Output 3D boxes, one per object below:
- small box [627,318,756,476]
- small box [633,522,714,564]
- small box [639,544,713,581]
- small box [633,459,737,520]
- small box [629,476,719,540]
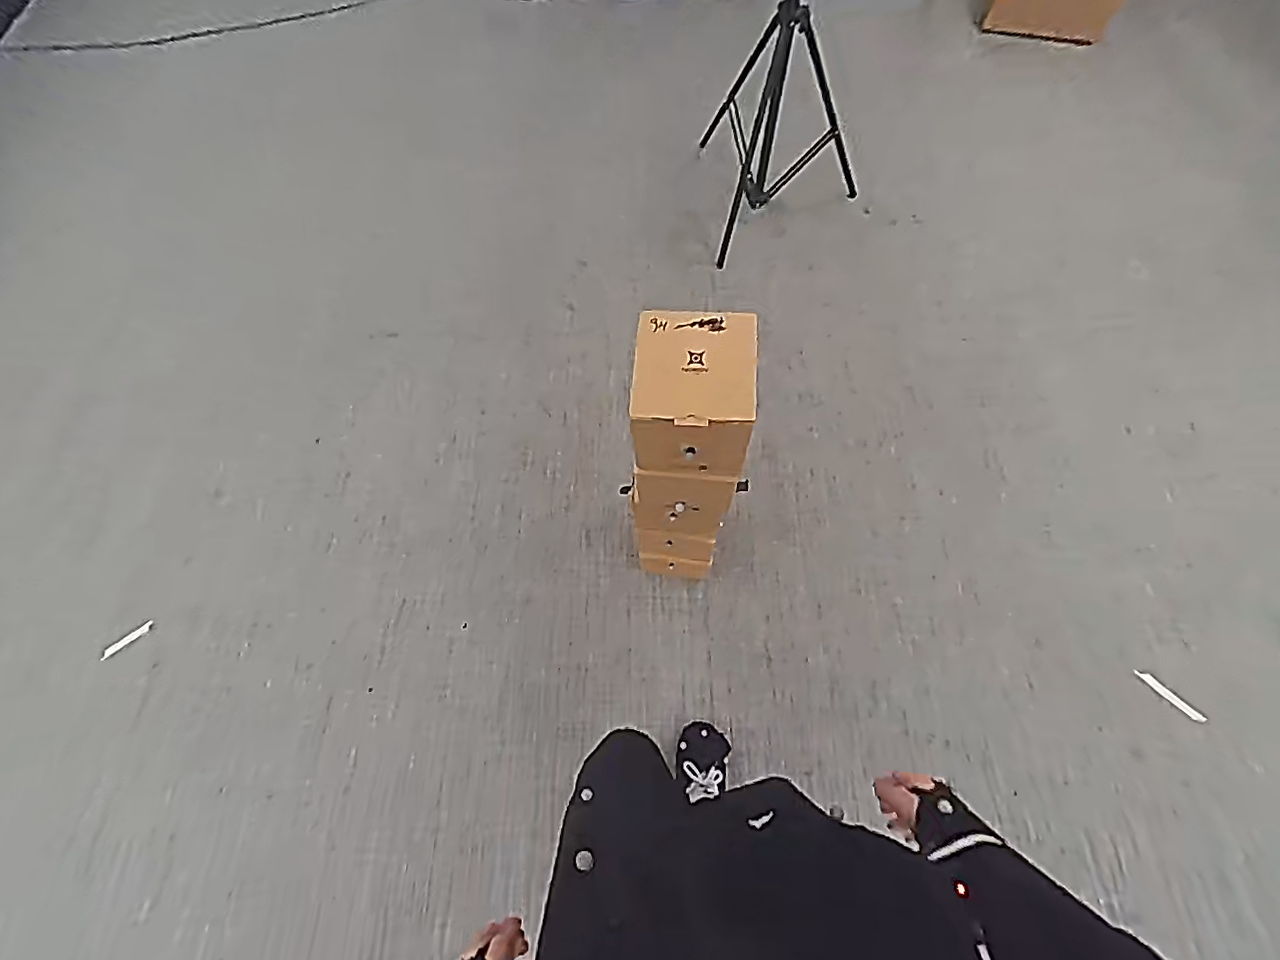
[{"bbox_3d":[0.077,-0.115,0.803,0.168,0.176,0.179,4,69,5],"label":"small box"},{"bbox_3d":[0.088,0.087,1.249,0.179,0.176,0.168,9,68,7],"label":"small box"},{"bbox_3d":[0.096,0.159,1.397,0.179,0.176,0.168,6,68,5],"label":"small box"},{"bbox_3d":[0.085,-0.043,0.950,0.168,0.176,0.179,6,69,6],"label":"small box"},{"bbox_3d":[0.080,0.017,1.104,0.179,0.176,0.168,6,69,5],"label":"small box"}]
